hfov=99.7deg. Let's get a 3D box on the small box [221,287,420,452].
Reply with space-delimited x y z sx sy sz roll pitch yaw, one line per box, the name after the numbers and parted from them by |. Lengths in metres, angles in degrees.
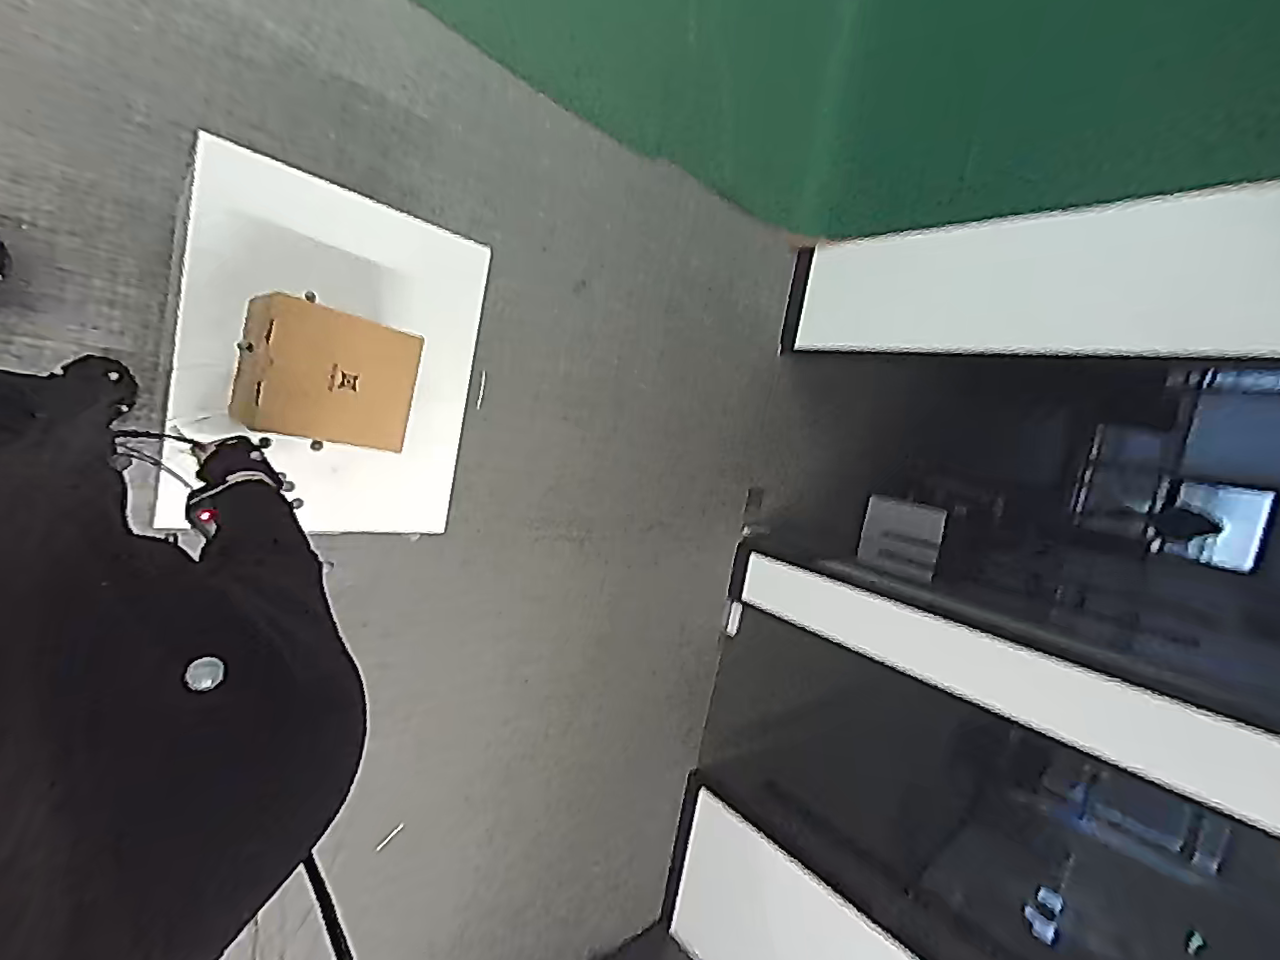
-0.426 -0.143 0.719 0.179 0.176 0.168 11 93 -45 | small box
